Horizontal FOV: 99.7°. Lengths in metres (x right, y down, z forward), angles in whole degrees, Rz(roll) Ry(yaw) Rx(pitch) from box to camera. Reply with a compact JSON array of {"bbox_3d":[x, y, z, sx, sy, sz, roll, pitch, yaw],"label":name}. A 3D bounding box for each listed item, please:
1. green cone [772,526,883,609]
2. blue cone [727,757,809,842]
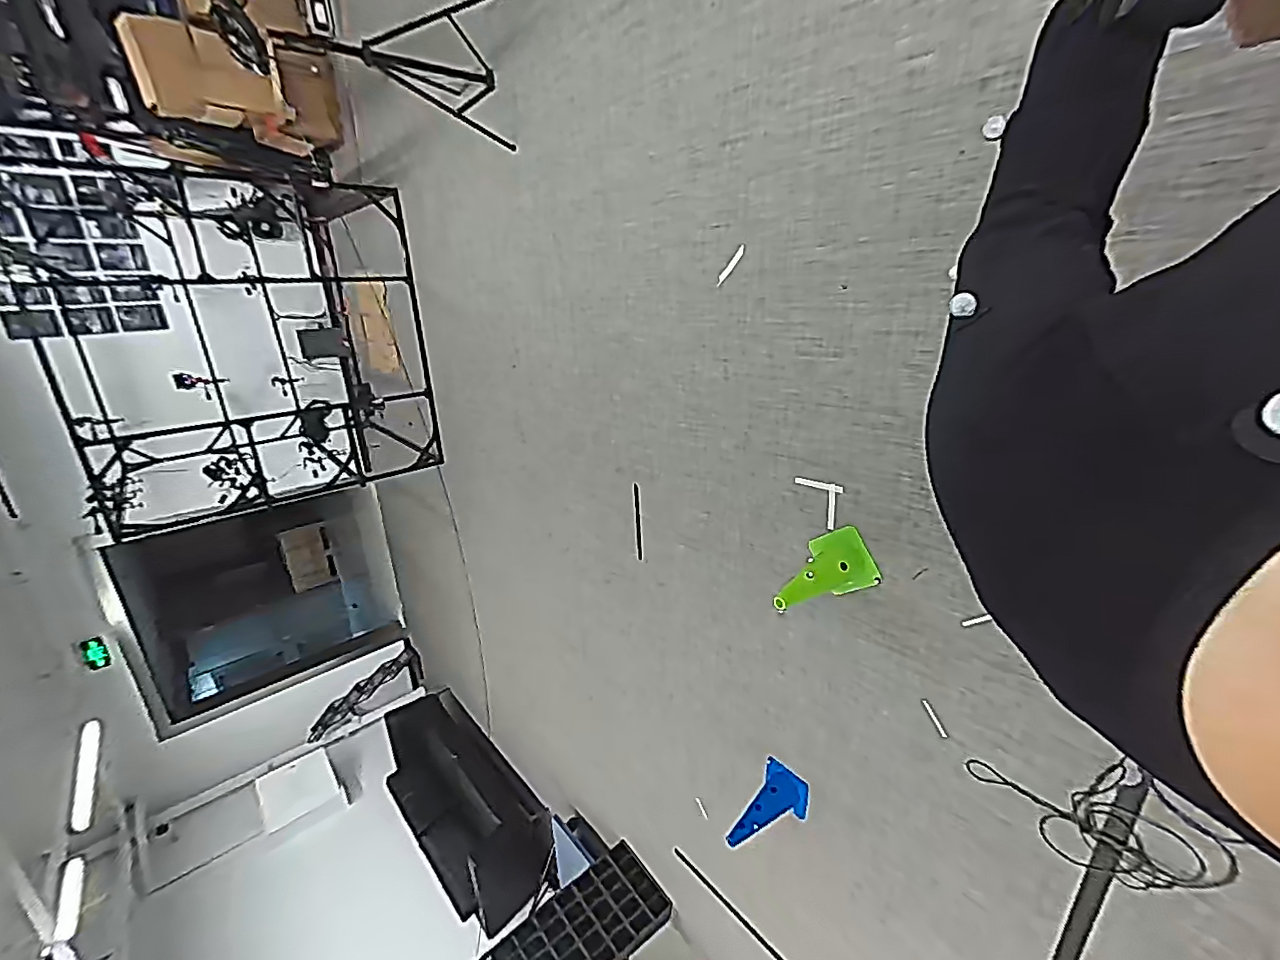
[{"bbox_3d":[0.535,0.303,1.655,0.202,0.368,0.200,-39,73,53],"label":"green cone"},{"bbox_3d":[0.492,1.316,2.157,0.192,0.380,0.193,24,123,45],"label":"blue cone"}]
